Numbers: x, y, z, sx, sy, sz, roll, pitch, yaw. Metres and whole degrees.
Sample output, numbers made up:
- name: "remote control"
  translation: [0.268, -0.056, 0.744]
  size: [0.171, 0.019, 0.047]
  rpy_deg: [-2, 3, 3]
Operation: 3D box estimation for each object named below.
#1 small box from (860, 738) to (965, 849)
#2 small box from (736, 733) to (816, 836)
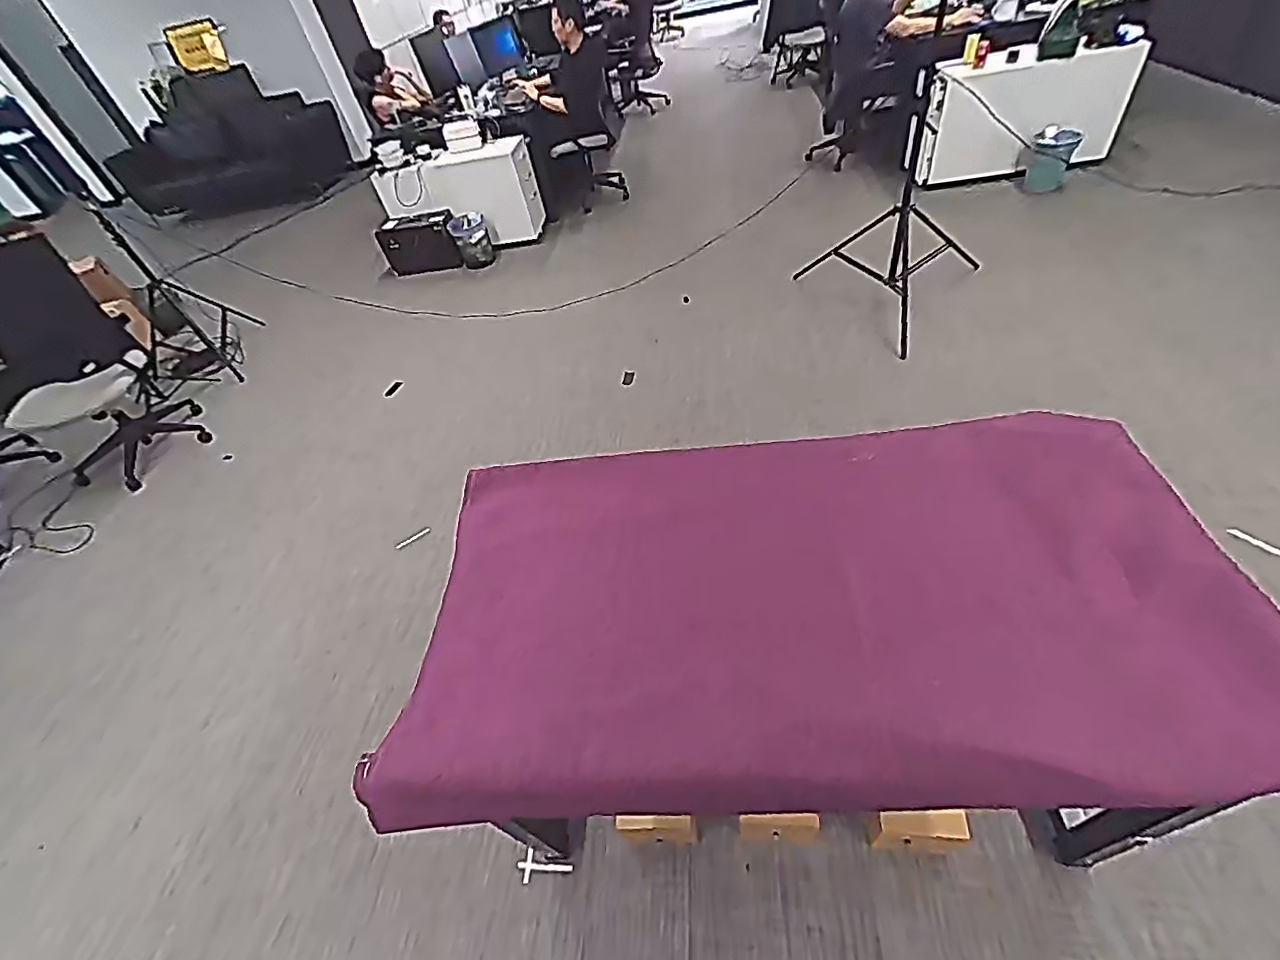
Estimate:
- name: "small box"
  translation: [0.596, 0.700, 1.204]
  size: [0.168, 0.176, 0.179]
  rpy_deg: [-1, 46, 12]
- name: "small box"
  translation: [0.311, 0.710, 1.256]
  size: [0.168, 0.176, 0.179]
  rpy_deg: [-3, 46, 9]
